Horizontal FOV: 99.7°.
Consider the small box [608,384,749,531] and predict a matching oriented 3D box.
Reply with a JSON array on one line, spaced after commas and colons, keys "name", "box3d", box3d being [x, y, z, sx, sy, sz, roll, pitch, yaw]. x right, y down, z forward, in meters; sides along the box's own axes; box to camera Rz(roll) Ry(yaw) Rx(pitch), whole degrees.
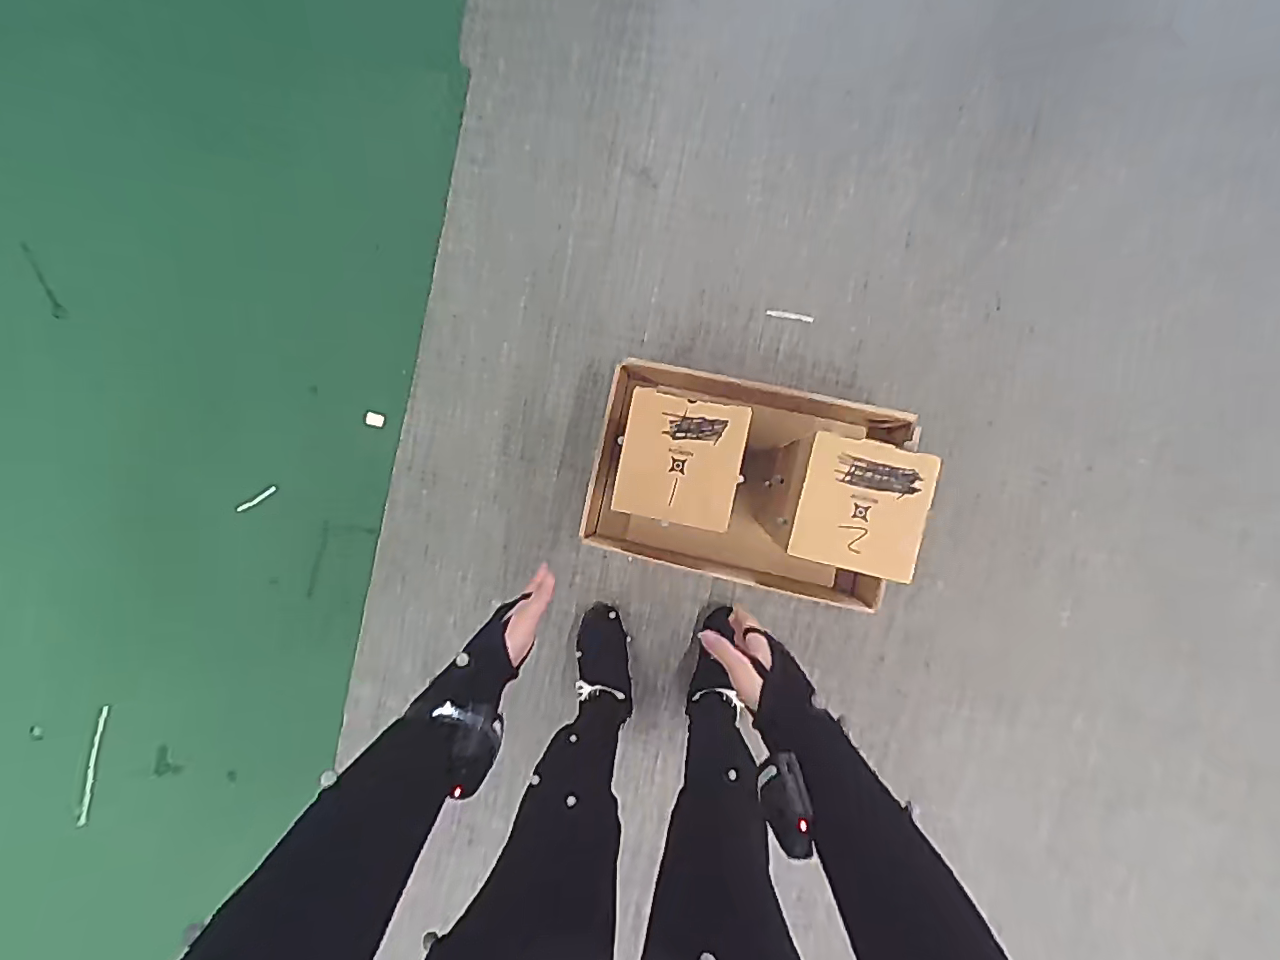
[{"name": "small box", "box3d": [0.057, -0.030, 0.815, 0.168, 0.176, 0.179, 12, 91, 5]}]

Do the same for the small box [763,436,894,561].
[{"name": "small box", "box3d": [0.321, 0.031, 0.957, 0.168, 0.176, 0.179, 13, 90, 7]}]
